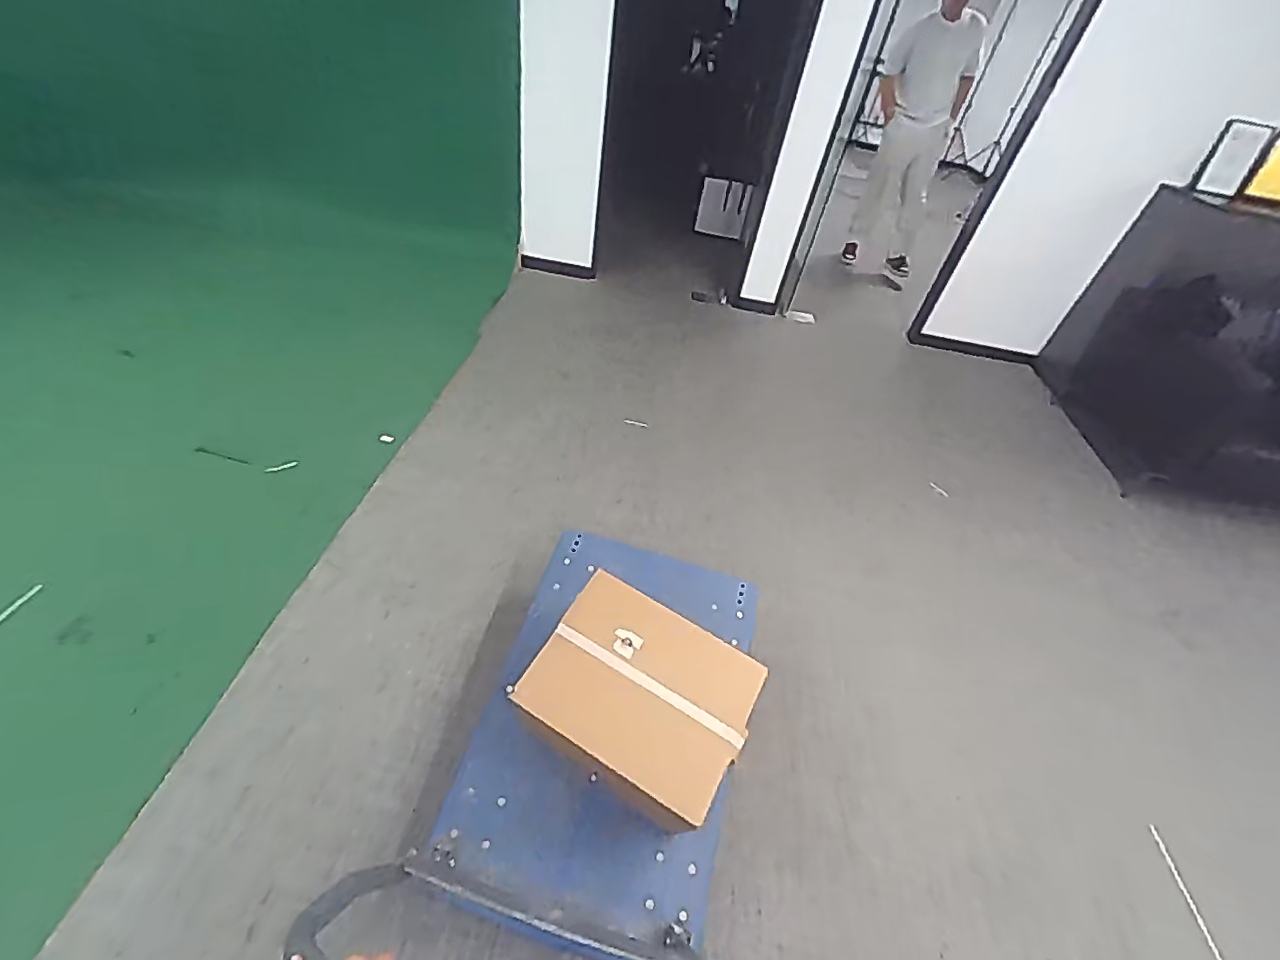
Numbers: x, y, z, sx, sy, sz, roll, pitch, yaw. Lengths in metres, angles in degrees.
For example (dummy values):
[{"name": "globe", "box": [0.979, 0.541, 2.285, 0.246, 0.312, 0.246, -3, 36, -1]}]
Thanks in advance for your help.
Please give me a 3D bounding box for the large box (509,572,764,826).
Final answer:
[{"name": "large box", "box": [-0.007, 0.472, 1.157, 0.408, 0.320, 0.320, 29, 57, 14]}]
